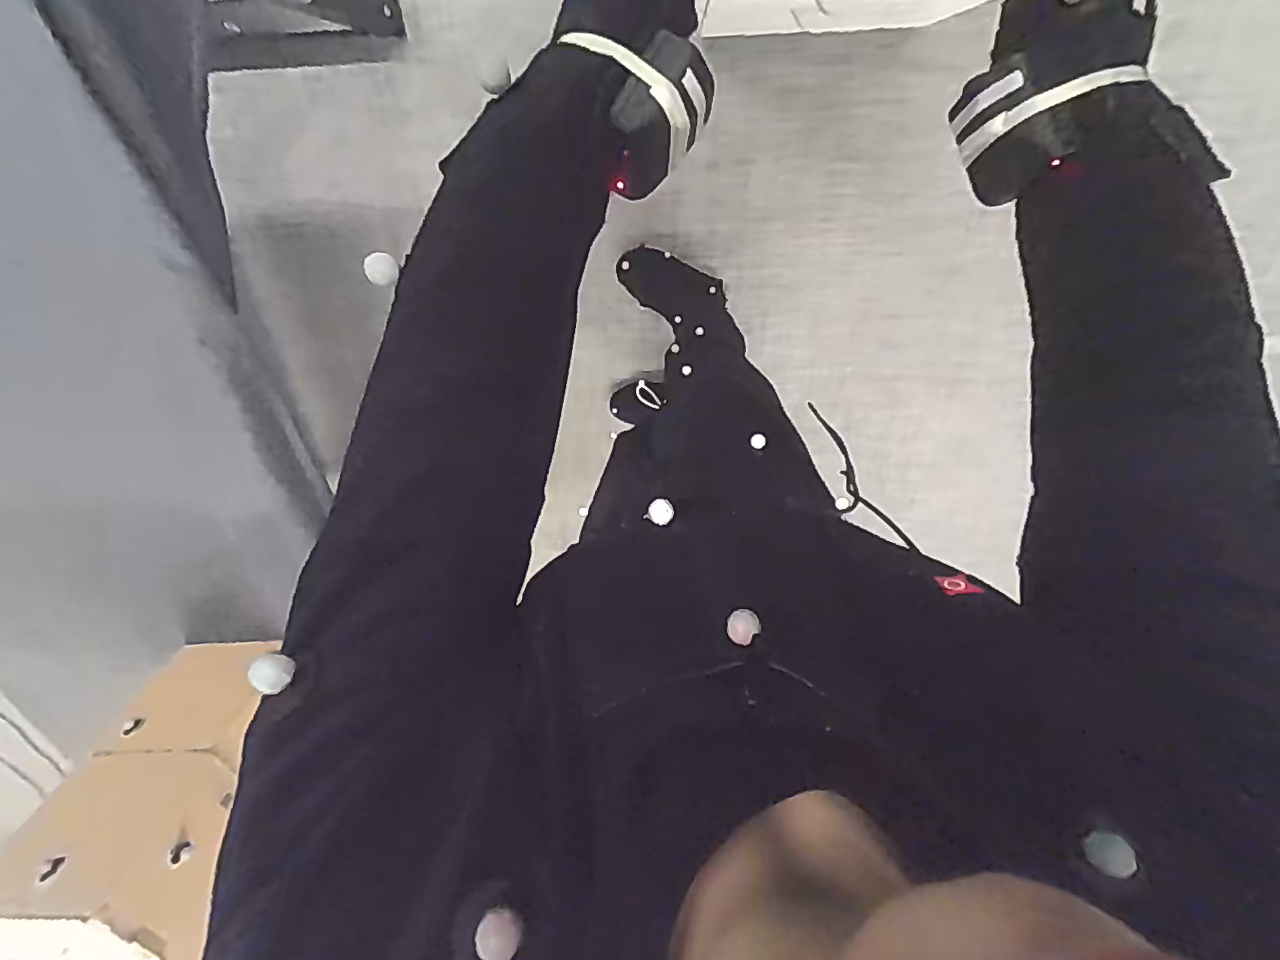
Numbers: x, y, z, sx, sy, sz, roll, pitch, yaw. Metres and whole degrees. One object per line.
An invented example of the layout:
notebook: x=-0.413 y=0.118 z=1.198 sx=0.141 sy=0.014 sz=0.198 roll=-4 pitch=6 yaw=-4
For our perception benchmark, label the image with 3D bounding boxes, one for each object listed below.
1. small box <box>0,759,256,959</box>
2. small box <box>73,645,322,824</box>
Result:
small box: x=-0.579 y=0.433 z=0.604 sx=0.179 sy=0.176 sz=0.168 roll=-5 pitch=122 yaw=7
small box: x=-0.574 y=0.343 z=0.739 sx=0.179 sy=0.176 sz=0.168 roll=-4 pitch=123 yaw=6
